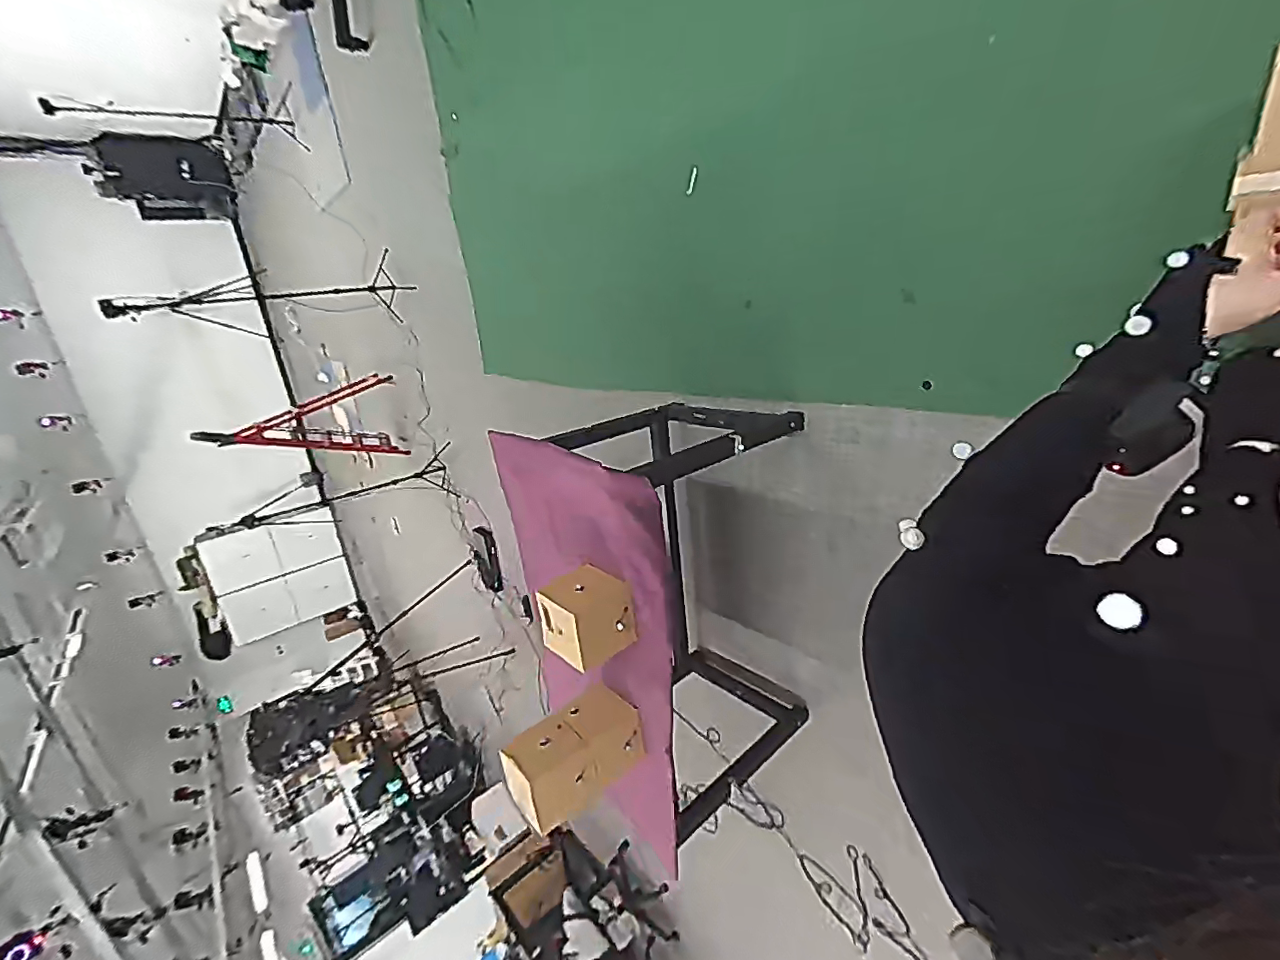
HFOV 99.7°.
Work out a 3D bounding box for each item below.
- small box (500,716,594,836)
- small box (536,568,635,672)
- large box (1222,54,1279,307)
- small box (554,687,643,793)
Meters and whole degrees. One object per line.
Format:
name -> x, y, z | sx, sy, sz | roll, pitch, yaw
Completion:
small box -> -0.237, 0.750, 1.394 | 0.168, 0.176, 0.179 | 14, 116, 50
small box -> -0.133, 0.335, 1.345 | 0.179, 0.176, 0.168 | 15, 118, 47
large box -> 1.027, -0.389, 0.645 | 0.408, 0.320, 0.320 | 17, 119, 46
small box -> -0.113, 0.703, 1.490 | 0.179, 0.176, 0.168 | 14, 118, 50
